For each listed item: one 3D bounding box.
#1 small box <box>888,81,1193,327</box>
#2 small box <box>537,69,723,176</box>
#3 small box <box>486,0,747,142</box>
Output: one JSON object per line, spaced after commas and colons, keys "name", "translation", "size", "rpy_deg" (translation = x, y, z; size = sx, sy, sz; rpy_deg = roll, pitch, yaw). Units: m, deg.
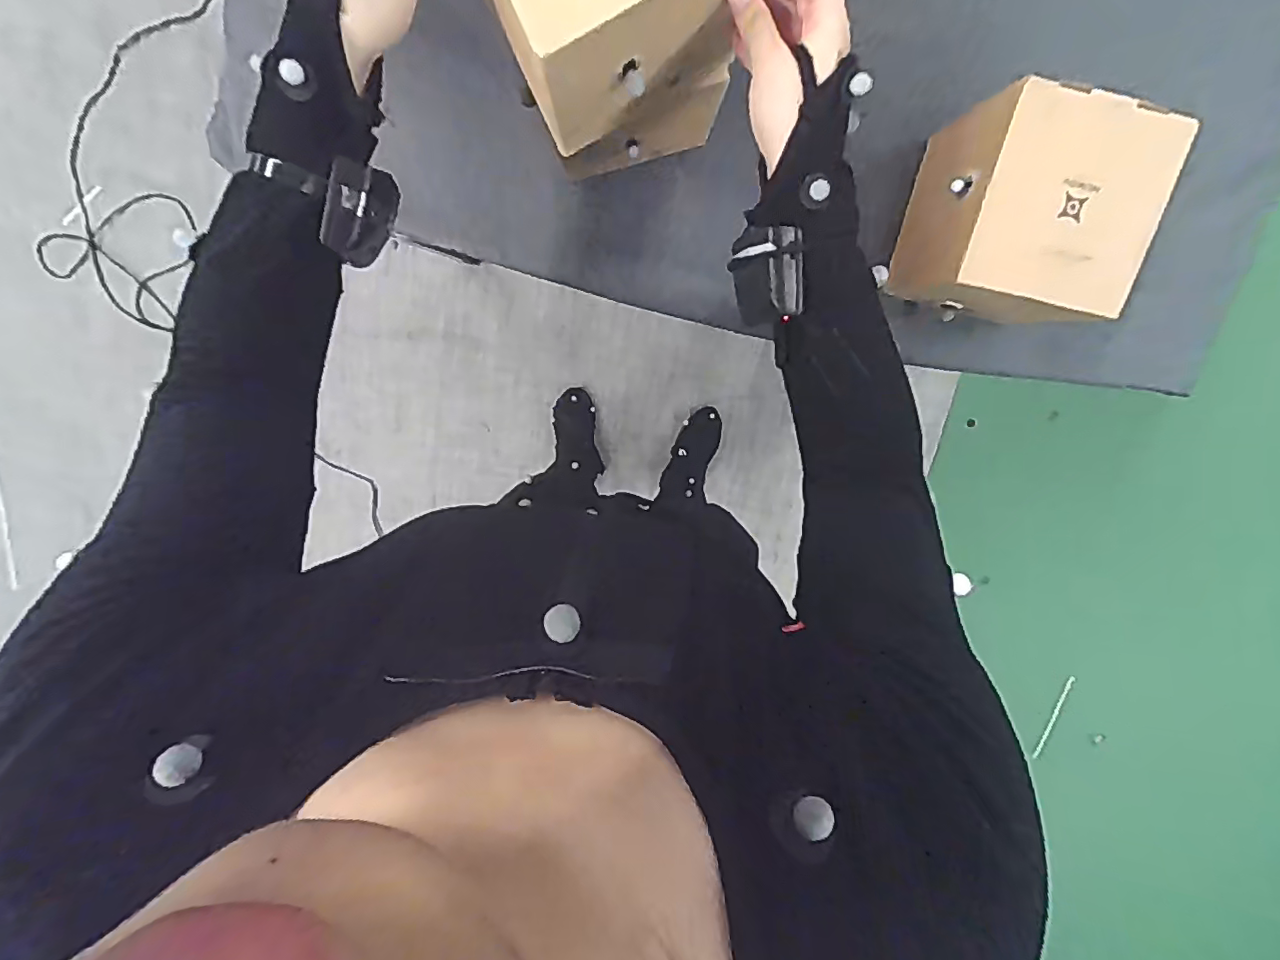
{"name": "small box", "translation": [0.392, -0.268, 0.569], "size": [0.168, 0.176, 0.179], "rpy_deg": [12, 105, -2]}
{"name": "small box", "translation": [-0.025, -0.419, 0.525], "size": [0.168, 0.176, 0.179], "rpy_deg": [-14, 105, 3]}
{"name": "small box", "translation": [-0.030, -0.367, 0.368], "size": [0.168, 0.176, 0.179], "rpy_deg": [-26, 102, 4]}
